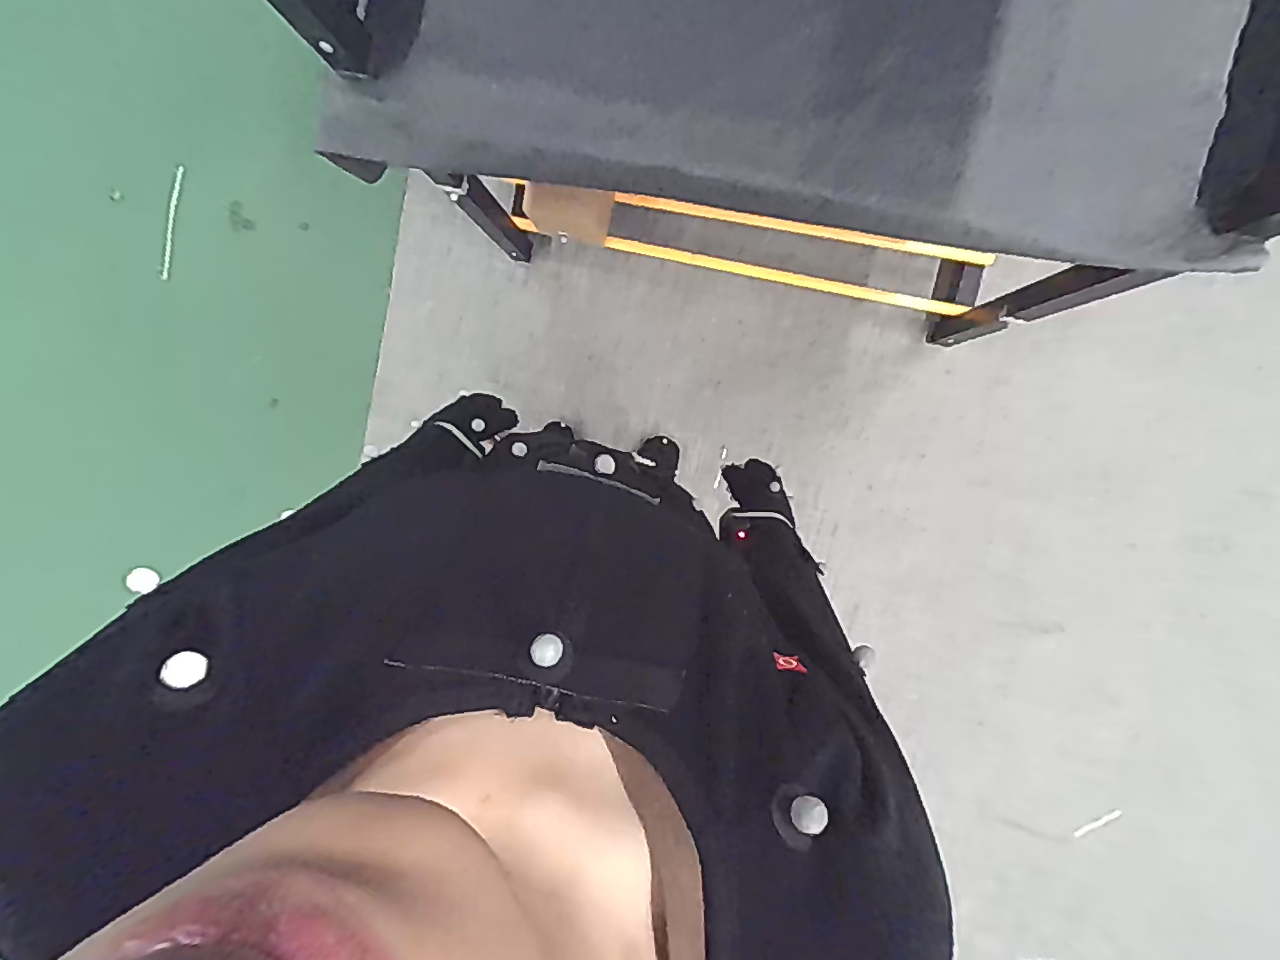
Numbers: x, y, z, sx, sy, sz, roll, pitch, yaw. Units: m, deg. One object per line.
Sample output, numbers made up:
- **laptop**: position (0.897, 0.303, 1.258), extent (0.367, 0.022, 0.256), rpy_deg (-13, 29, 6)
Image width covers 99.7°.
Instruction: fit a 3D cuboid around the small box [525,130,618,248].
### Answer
- **small box**: position (-0.150, -0.661, 1.246), extent (0.168, 0.176, 0.179), rpy_deg (12, 98, 4)
